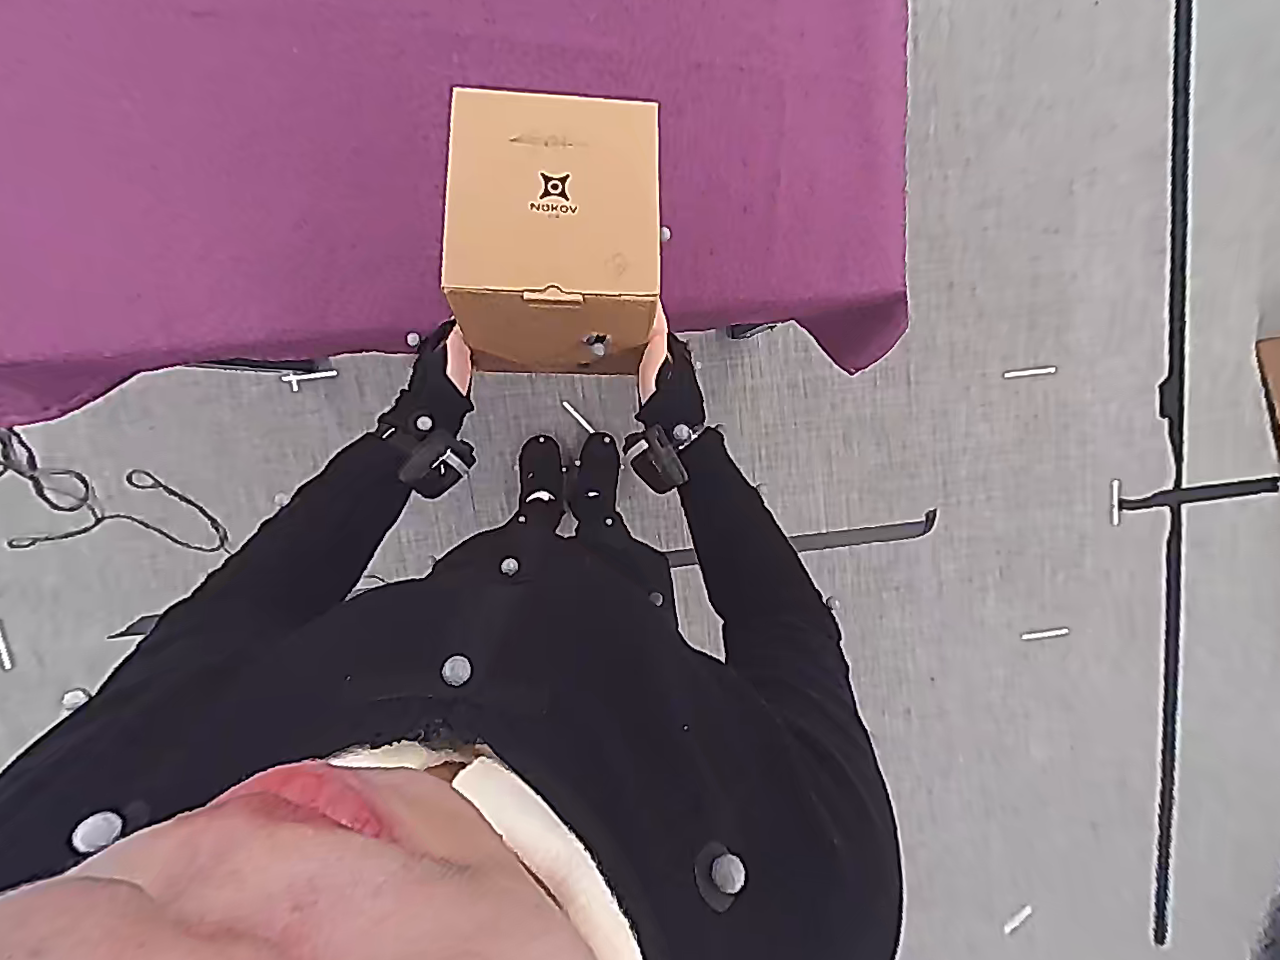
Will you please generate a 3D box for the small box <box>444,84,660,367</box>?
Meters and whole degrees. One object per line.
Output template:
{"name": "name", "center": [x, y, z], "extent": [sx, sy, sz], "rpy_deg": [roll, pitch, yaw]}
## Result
{"name": "small box", "center": [-0.072, -0.216, 0.502], "extent": [0.168, 0.176, 0.179], "rpy_deg": [1, 80, -6]}
